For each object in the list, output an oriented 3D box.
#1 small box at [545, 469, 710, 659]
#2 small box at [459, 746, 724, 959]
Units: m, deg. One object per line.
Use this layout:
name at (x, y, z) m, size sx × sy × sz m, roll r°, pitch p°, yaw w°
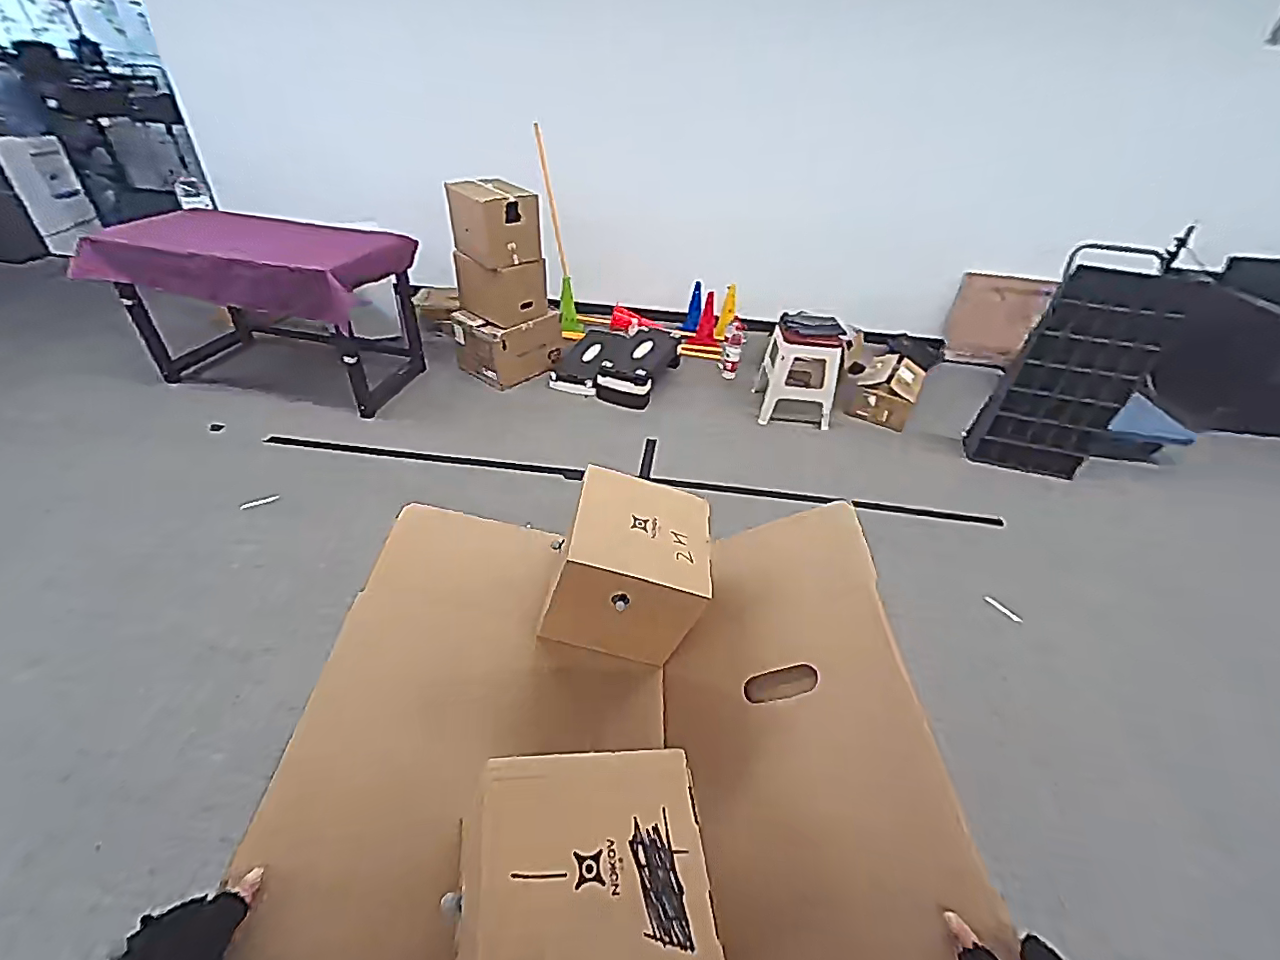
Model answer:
small box at (-0.018, 0.118, 0.731) m, size 0.179 × 0.176 × 0.168 m, roll 18°, pitch 41°, yaw -9°
small box at (-0.054, 0.347, 0.470) m, size 0.179 × 0.176 × 0.168 m, roll 7°, pitch 44°, yaw -19°
